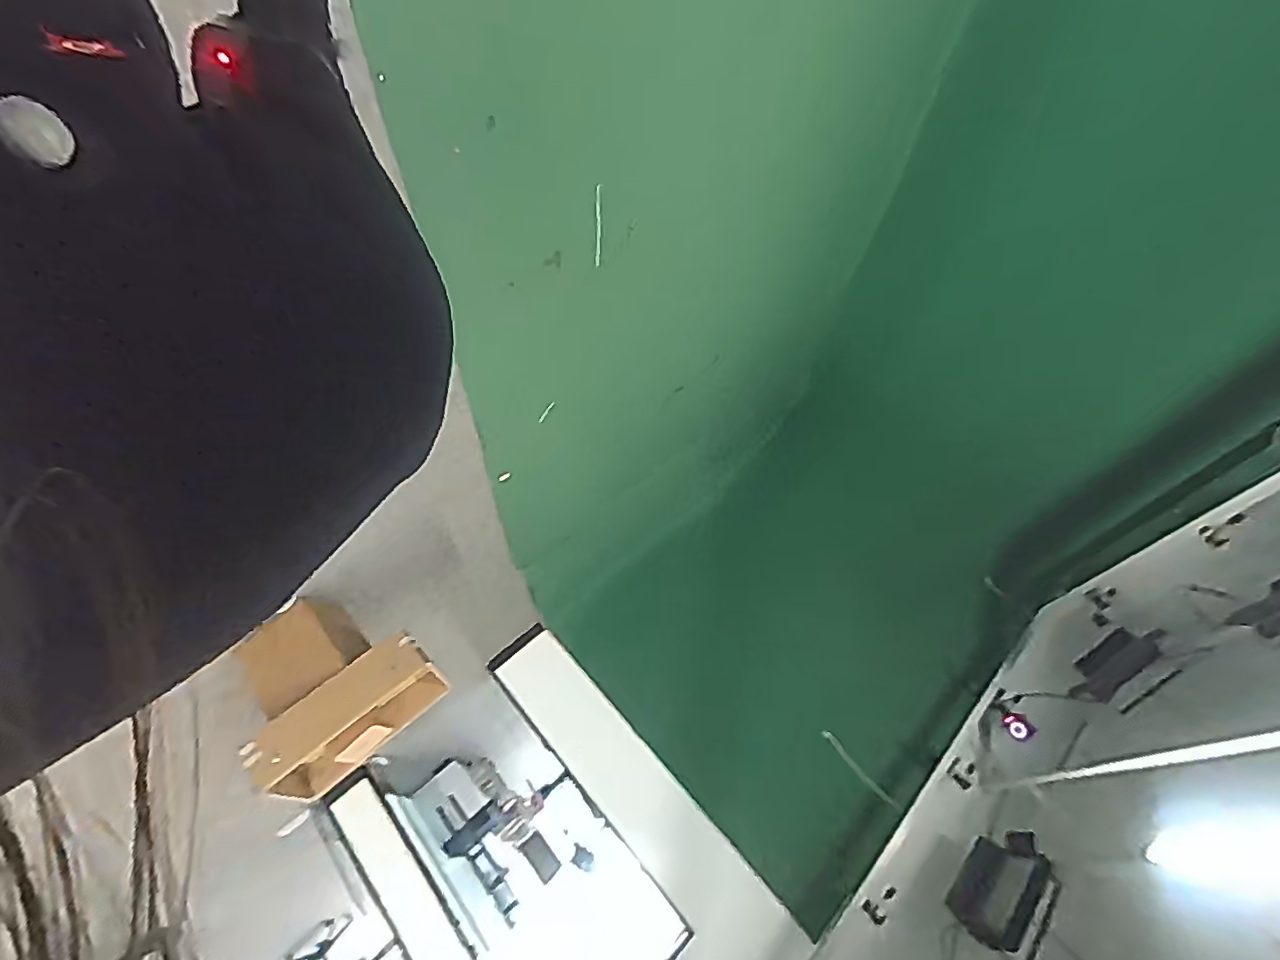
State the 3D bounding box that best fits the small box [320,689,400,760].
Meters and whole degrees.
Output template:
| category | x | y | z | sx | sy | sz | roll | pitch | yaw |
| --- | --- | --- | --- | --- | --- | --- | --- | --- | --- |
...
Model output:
| category | x | y | z | sx | sy | sz | roll | pitch | yaw |
| --- | --- | --- | --- | --- | --- | --- | --- | --- | --- |
| small box | -1.032 | 0.901 | 1.996 | 0.168 | 0.176 | 0.179 | -41 | 156 | -19 |
